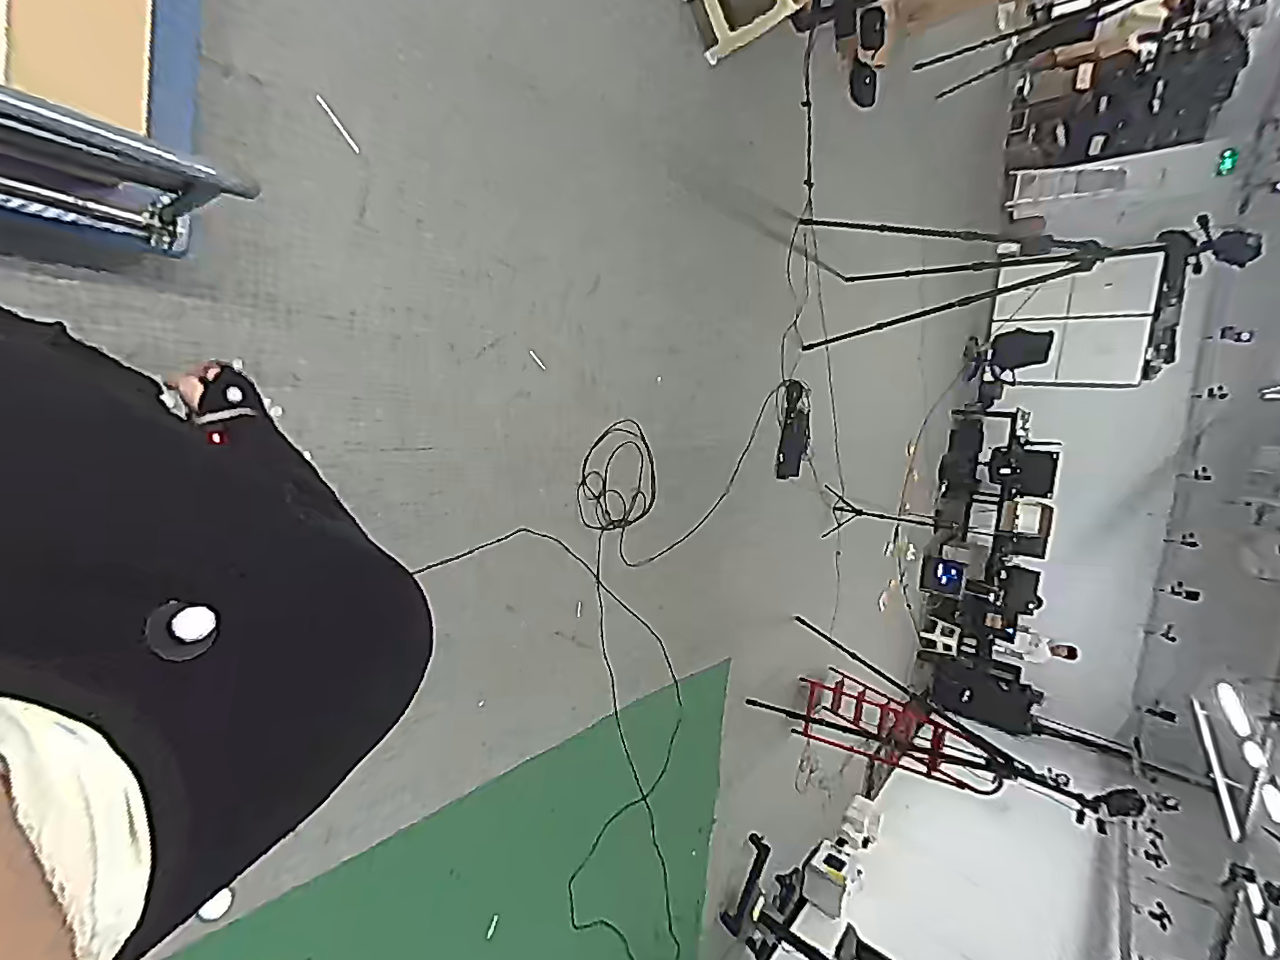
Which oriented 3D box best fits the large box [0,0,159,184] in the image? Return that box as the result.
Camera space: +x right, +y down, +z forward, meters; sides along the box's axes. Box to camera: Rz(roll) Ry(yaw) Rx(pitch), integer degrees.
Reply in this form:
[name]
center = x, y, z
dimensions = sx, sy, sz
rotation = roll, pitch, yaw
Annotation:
[large box]
center = -0.947, -0.736, 0.805
dimensions = 0.320, 0.320, 0.408
rotation = 1, 97, -50
